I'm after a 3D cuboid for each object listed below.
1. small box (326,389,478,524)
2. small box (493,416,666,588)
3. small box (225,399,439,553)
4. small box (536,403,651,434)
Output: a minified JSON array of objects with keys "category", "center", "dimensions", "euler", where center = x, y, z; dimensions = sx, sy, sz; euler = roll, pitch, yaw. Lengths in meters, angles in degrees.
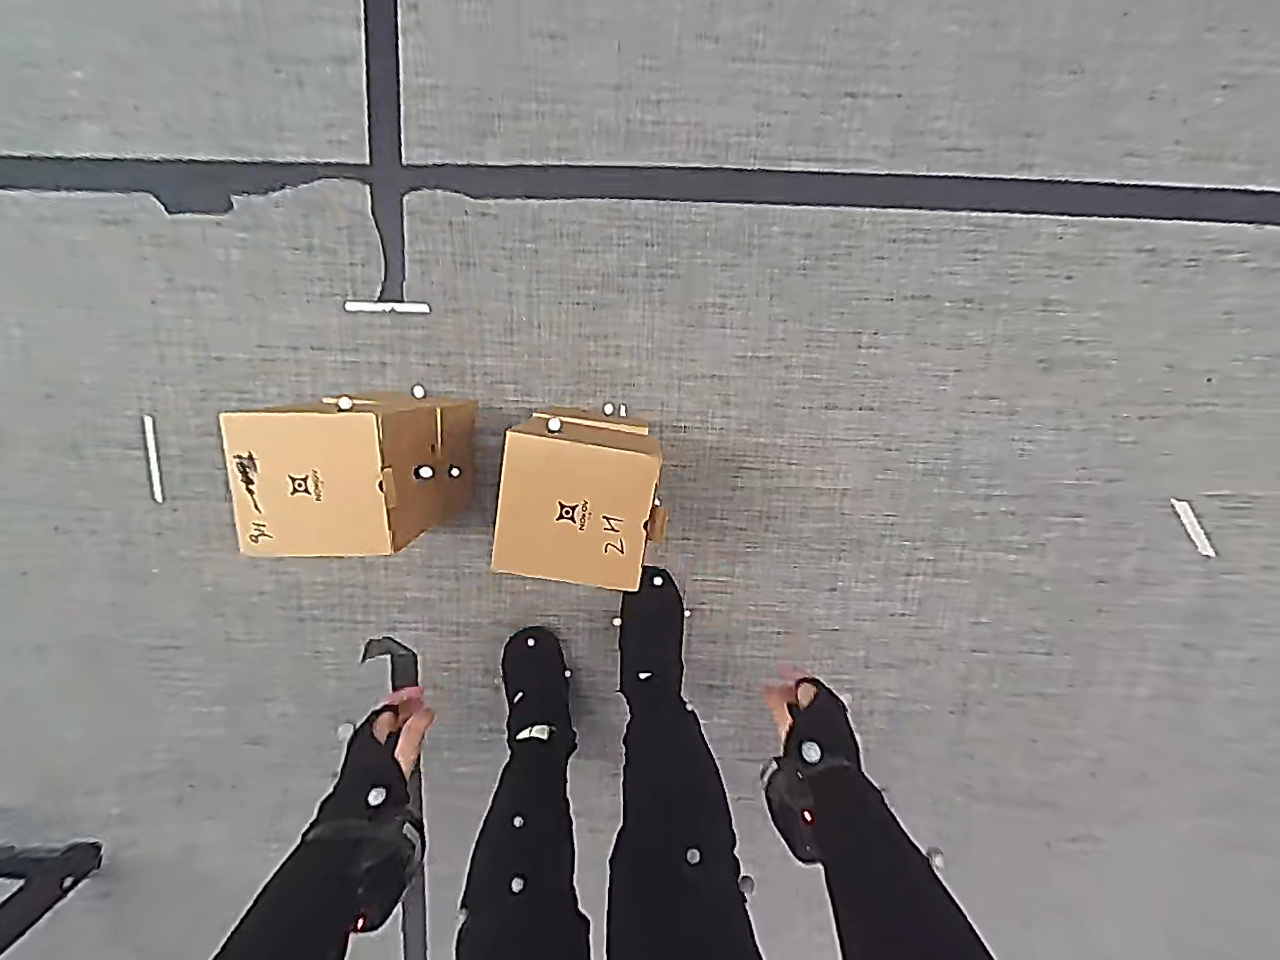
[{"category":"small box","center":[-0.358,-0.044,0.837],"dimensions":[0.168,0.176,0.179],"euler":[5,101,-2]},{"category":"small box","center":[-0.071,0.017,0.685],"dimensions":[0.179,0.176,0.168],"euler":[9,102,-3]},{"category":"small box","center":[-0.362,-0.014,0.676],"dimensions":[0.179,0.176,0.168],"euler":[0,101,-1]},{"category":"small box","center":[-0.076,-0.018,0.846],"dimensions":[0.168,0.176,0.179],"euler":[8,101,-2]}]
